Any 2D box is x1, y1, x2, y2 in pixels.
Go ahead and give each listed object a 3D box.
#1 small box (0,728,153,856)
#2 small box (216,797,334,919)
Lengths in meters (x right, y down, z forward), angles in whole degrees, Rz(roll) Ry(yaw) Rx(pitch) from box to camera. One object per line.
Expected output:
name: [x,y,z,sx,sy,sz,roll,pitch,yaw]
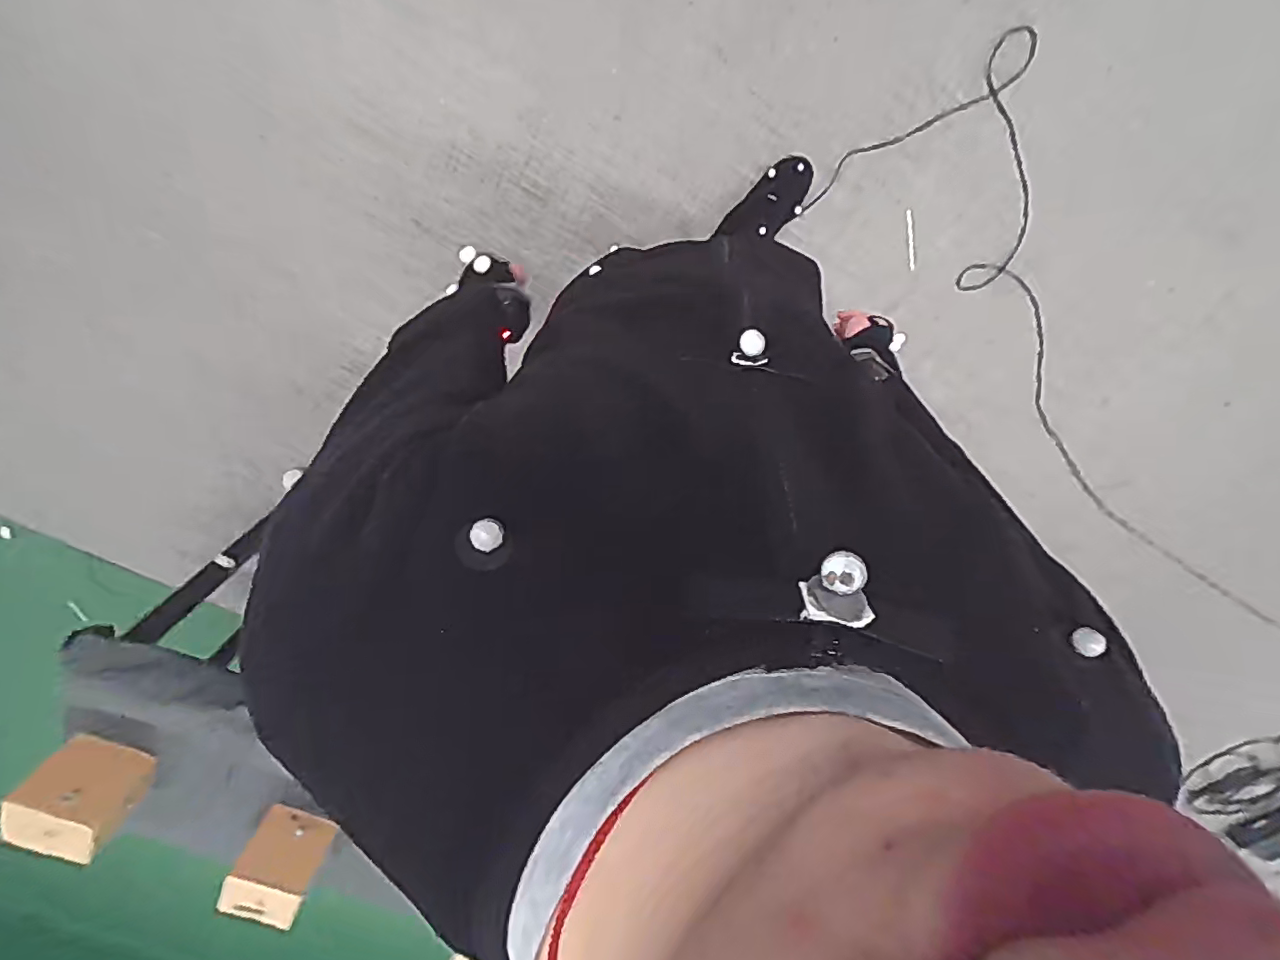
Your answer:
small box: [-1.254,0.694,1.214,0.179,0.176,0.168,29,115,-12]
small box: [-0.884,0.920,1.322,0.168,0.176,0.179,26,115,-12]
